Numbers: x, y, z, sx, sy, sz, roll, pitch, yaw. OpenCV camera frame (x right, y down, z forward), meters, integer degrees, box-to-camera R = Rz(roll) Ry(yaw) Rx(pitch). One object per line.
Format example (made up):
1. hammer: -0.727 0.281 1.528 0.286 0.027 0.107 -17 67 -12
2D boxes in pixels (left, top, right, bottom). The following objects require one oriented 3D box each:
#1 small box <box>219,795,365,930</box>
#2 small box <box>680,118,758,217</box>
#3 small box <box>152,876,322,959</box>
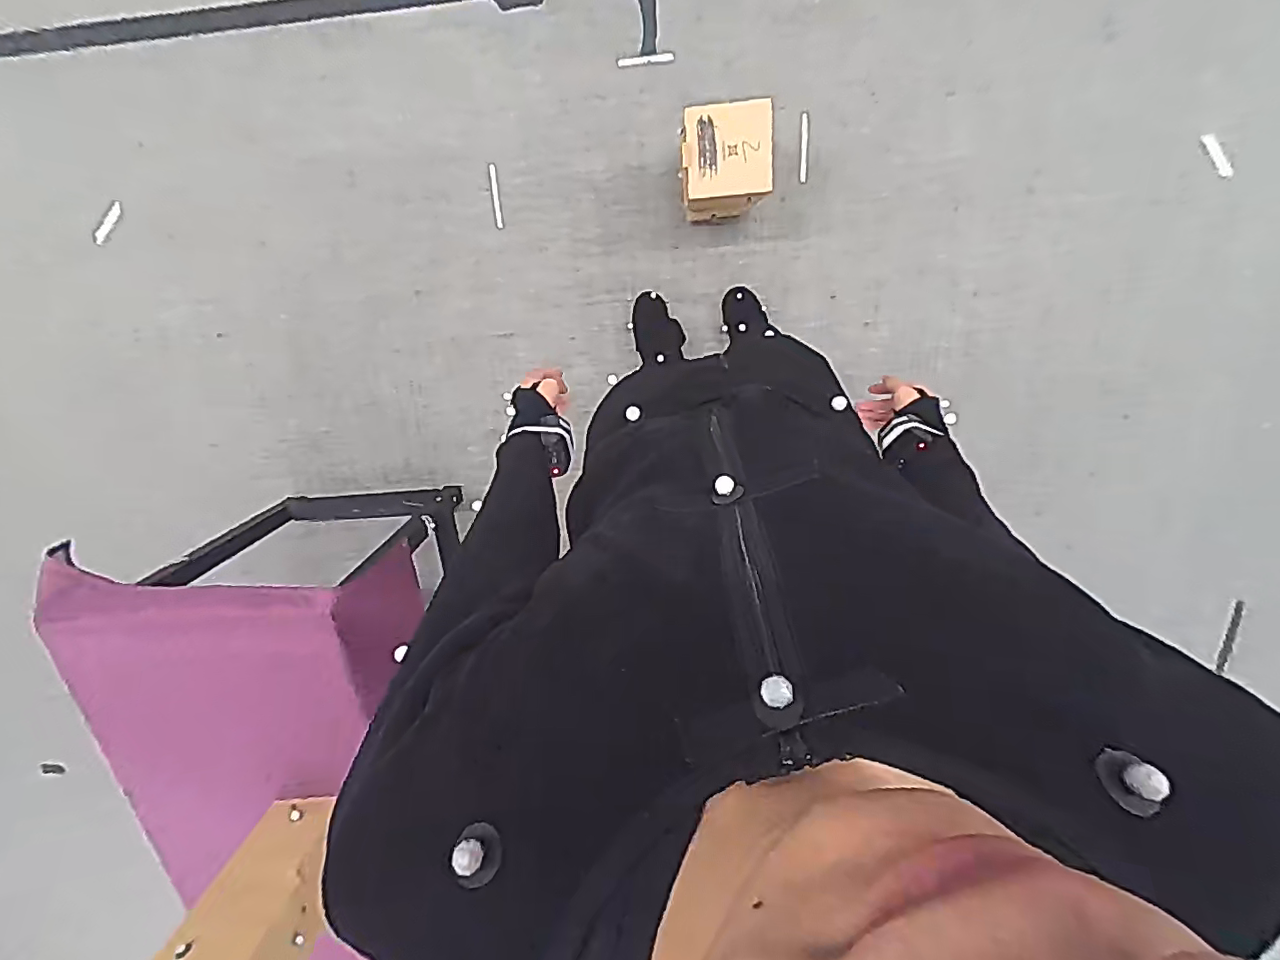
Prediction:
1. small box: -0.711 0.797 1.131 0.168 0.176 0.179 -7 109 5
2. small box: 0.189 -0.746 1.311 0.168 0.176 0.179 -7 109 5
3. small box: -0.722 0.854 0.977 0.179 0.176 0.168 -2 110 3
